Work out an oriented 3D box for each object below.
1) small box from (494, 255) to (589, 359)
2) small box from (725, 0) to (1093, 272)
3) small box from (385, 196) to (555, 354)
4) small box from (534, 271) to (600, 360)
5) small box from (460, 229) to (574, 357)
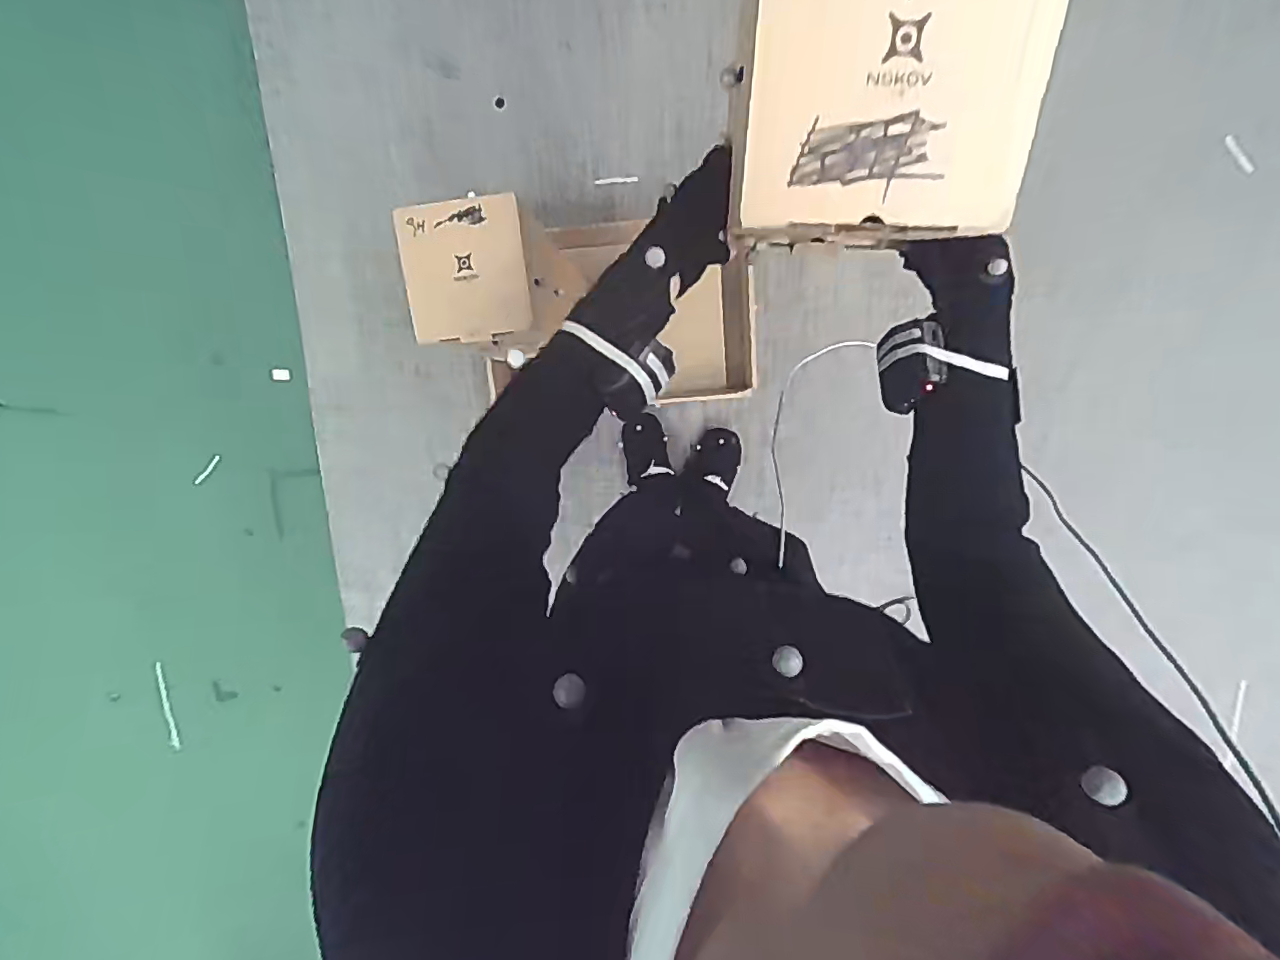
[{"bbox_3d":[-0.201,-0.338,1.085,0.168,0.176,0.179,-4,102,5],"label":"small box"},{"bbox_3d":[0.153,-0.248,0.371,0.168,0.176,0.179,4,116,1],"label":"small box"},{"bbox_3d":[-0.224,-0.277,0.765,0.168,0.176,0.179,-6,103,4],"label":"small box"},{"bbox_3d":[-0.189,-0.371,1.245,0.168,0.176,0.179,-3,102,5],"label":"small box"},{"bbox_3d":[-0.214,-0.309,0.925,0.168,0.176,0.179,-6,102,5],"label":"small box"}]
